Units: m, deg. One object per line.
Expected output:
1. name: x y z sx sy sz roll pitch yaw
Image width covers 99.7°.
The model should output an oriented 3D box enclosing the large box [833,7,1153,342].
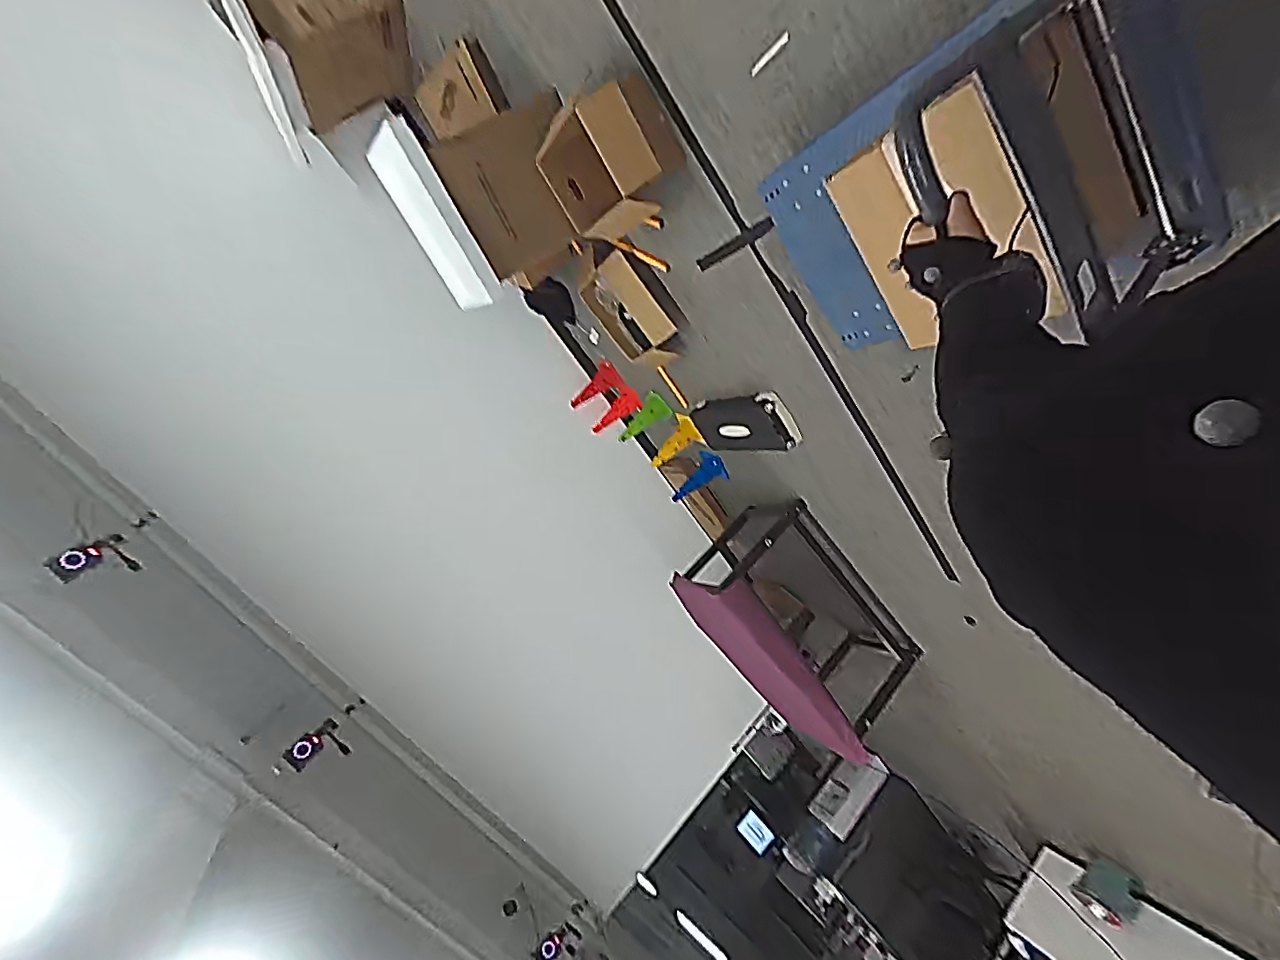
1. large box: 0.665 -0.542 1.032 0.408 0.320 0.320 54 160 -15
